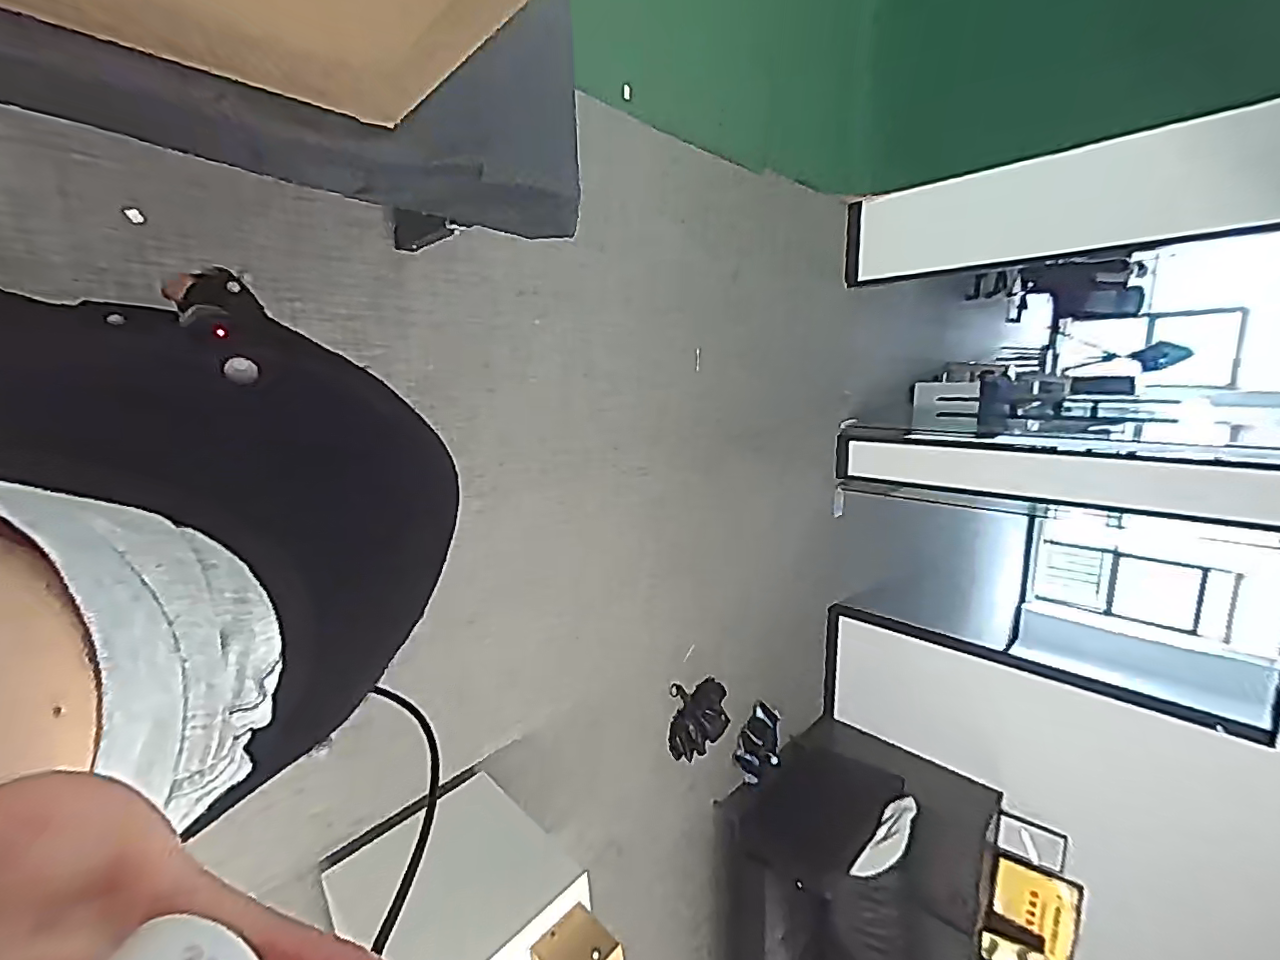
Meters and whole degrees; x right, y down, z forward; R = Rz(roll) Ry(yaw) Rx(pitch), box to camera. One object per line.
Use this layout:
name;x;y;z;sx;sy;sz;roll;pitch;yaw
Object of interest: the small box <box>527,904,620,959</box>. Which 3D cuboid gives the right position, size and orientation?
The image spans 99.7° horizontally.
small box;-0.166;1.236;1.359;0.168;0.176;0.179;-16;109;-43
